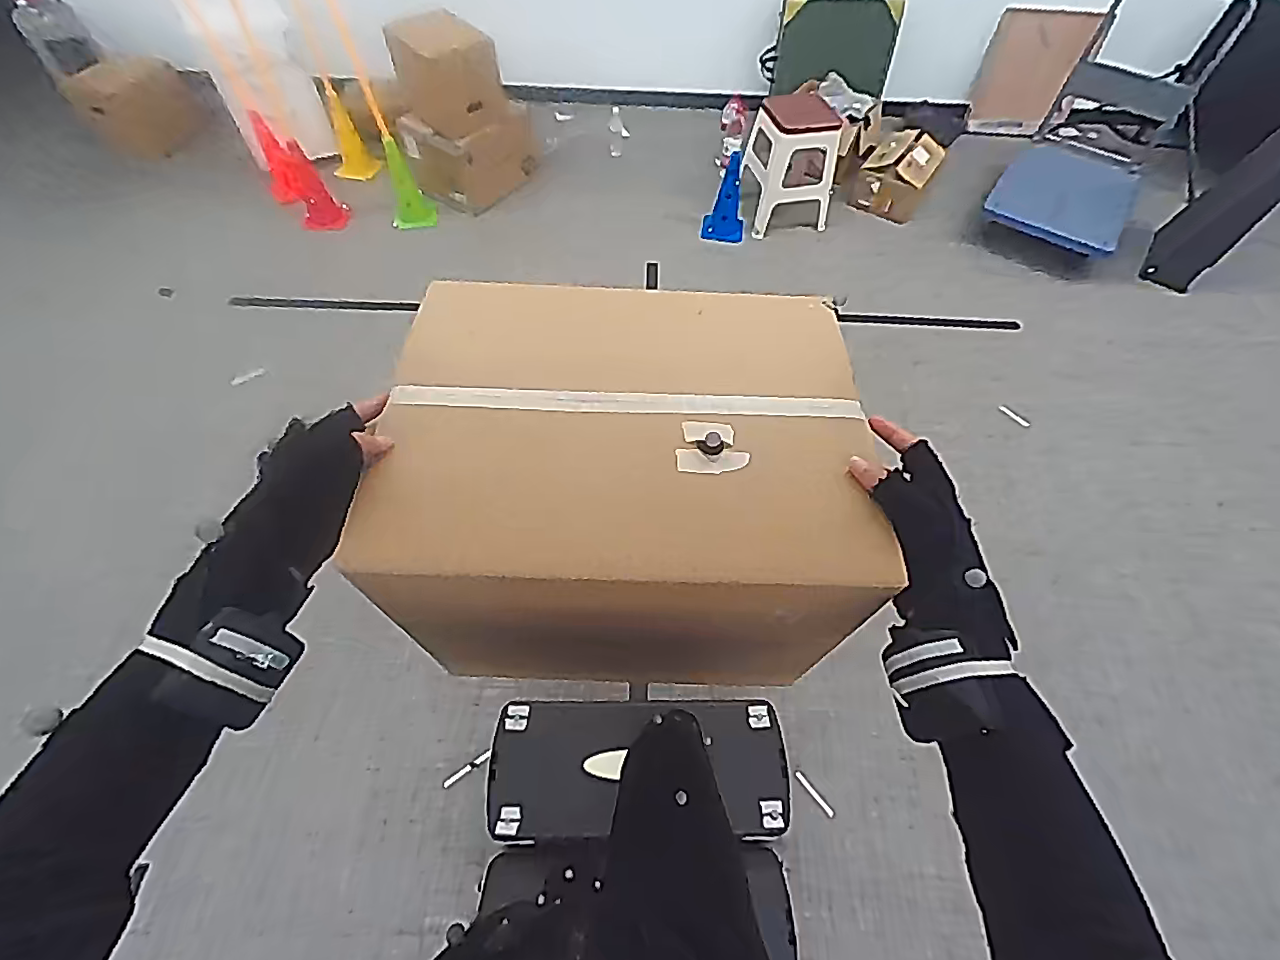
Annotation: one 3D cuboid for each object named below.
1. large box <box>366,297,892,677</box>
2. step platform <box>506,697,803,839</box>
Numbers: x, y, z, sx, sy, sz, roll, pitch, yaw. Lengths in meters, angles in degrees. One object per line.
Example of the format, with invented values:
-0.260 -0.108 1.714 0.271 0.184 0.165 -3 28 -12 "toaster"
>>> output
-0.012 0.025 0.606 0.408 0.320 0.320 3 57 -2 "large box"
0.030 0.681 1.290 0.684 0.204 0.286 1 57 -3 "step platform"
